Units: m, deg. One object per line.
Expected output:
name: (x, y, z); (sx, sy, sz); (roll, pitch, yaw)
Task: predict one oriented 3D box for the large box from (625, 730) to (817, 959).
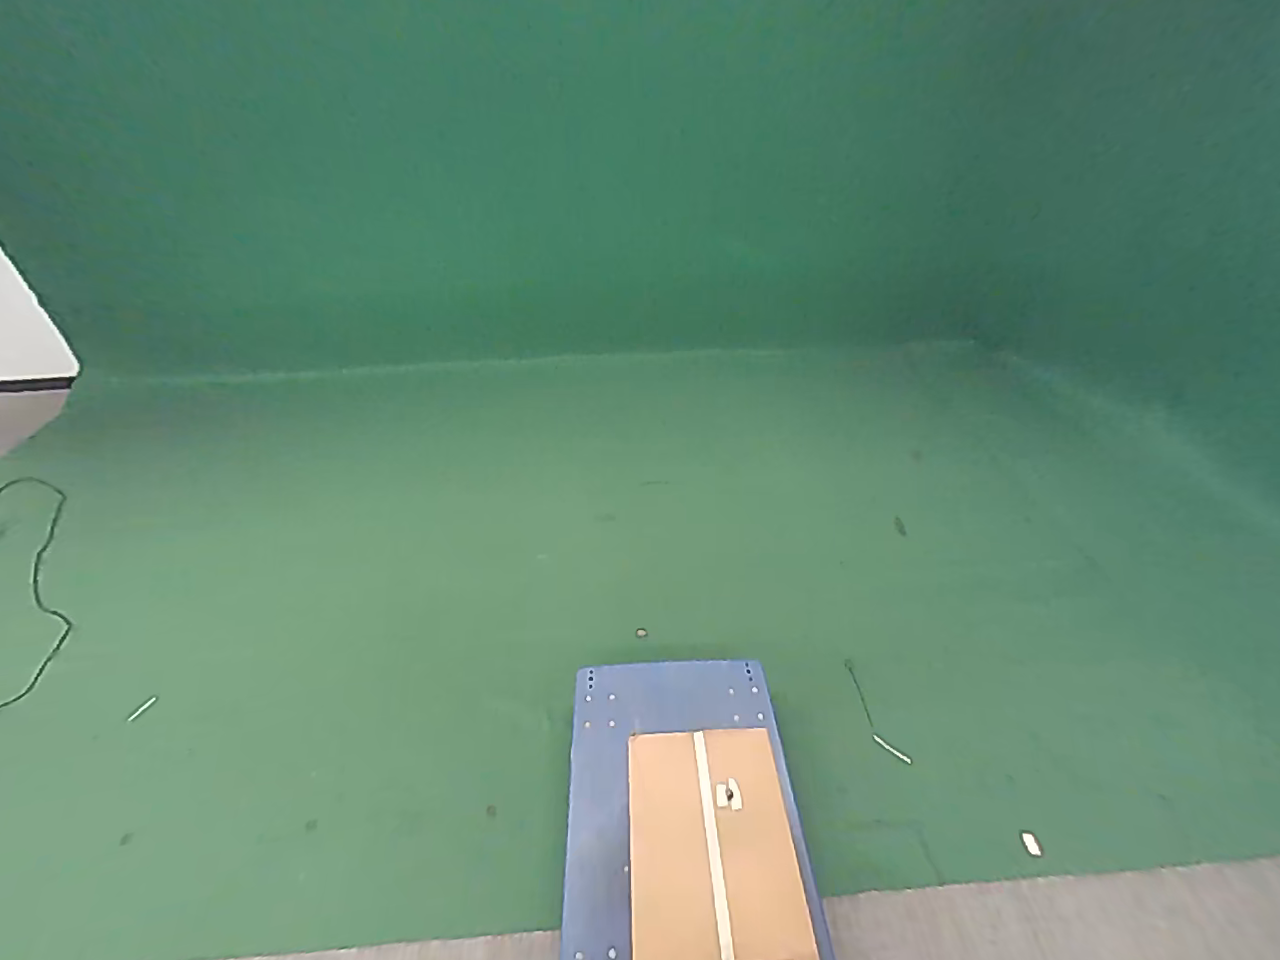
large box: (0.136, 0.805, 1.136); (0.320, 0.320, 0.408); (-2, 37, -2)
